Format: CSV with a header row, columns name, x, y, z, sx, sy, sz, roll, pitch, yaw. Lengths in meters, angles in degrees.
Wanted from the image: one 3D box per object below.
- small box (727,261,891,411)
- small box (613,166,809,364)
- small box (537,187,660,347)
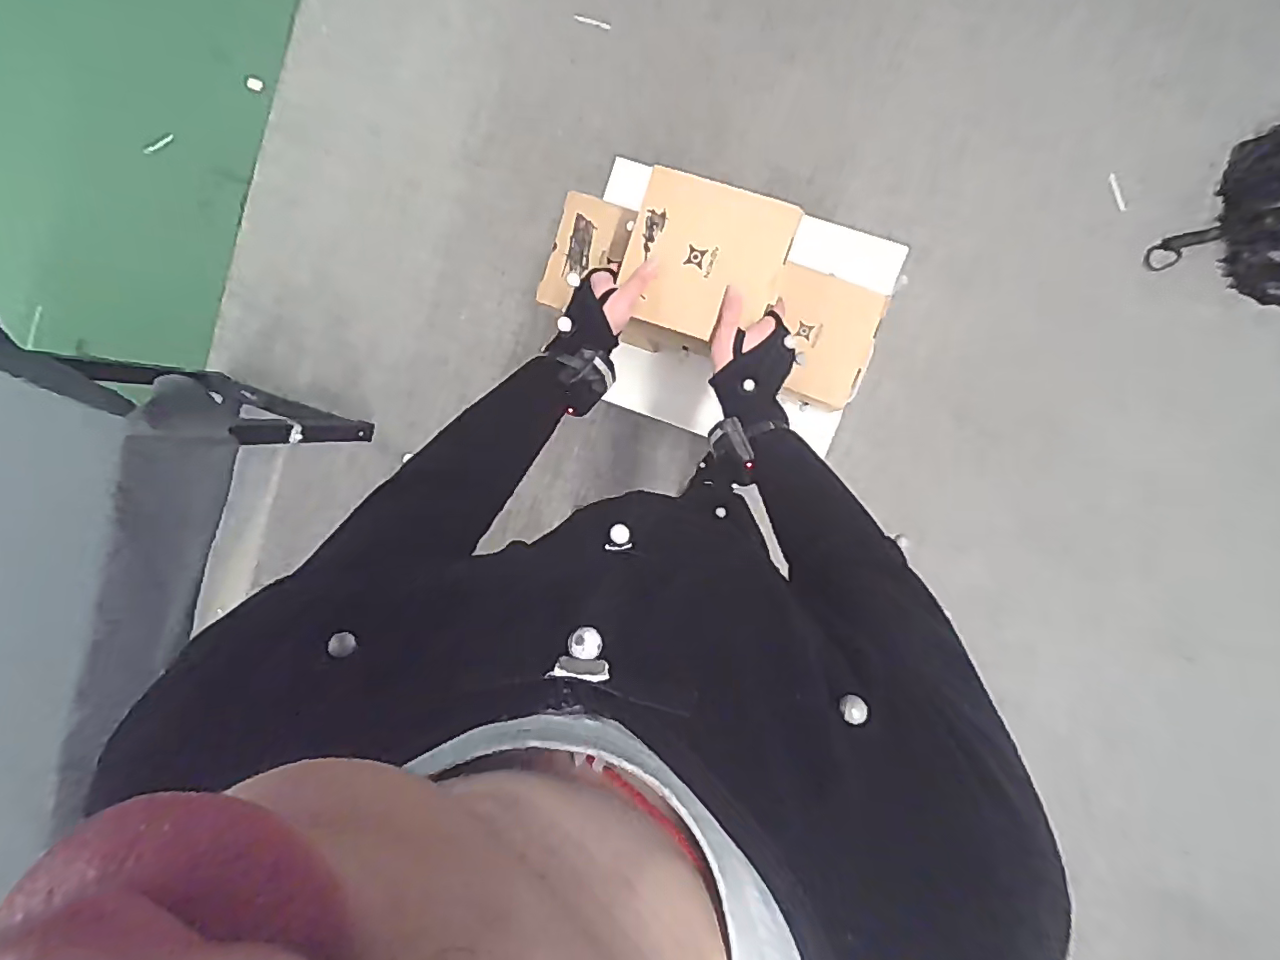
name,x,y,z,sx,sy,sz,roll,pitch,yaw
small box,0.244,-0.211,0.826,0.179,0.176,0.168,22,97,6
small box,0.084,-0.250,0.675,0.179,0.176,0.168,20,99,4
small box,-0.035,-0.318,0.846,0.179,0.176,0.168,20,99,3
